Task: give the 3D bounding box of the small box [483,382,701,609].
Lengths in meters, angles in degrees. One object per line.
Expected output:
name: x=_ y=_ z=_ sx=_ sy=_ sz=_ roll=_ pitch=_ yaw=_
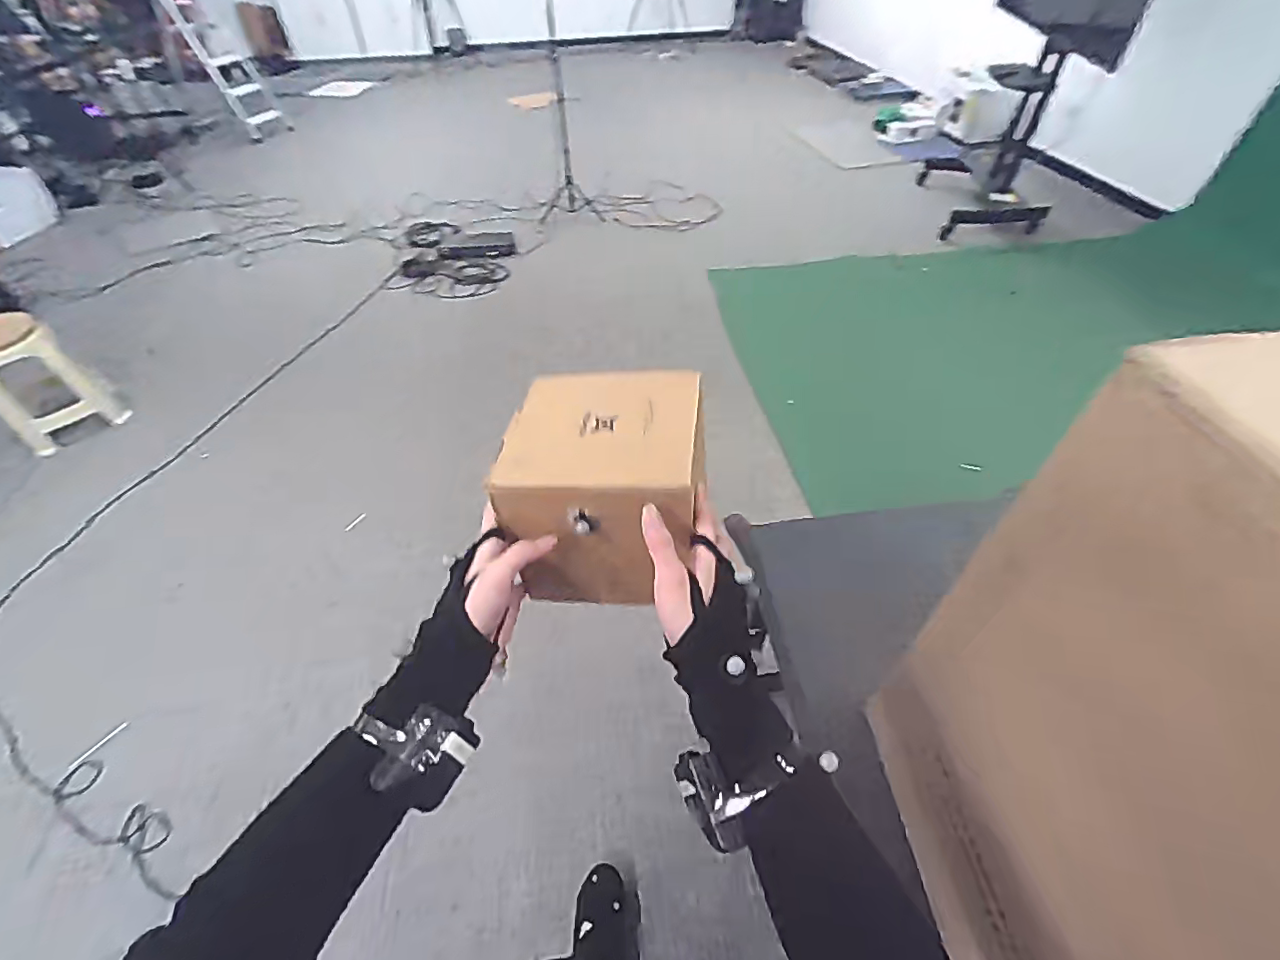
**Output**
small box: x=-0.031 y=0.016 z=0.555 sx=0.179 sy=0.176 sz=0.168 roll=1 pitch=42 yaw=9
